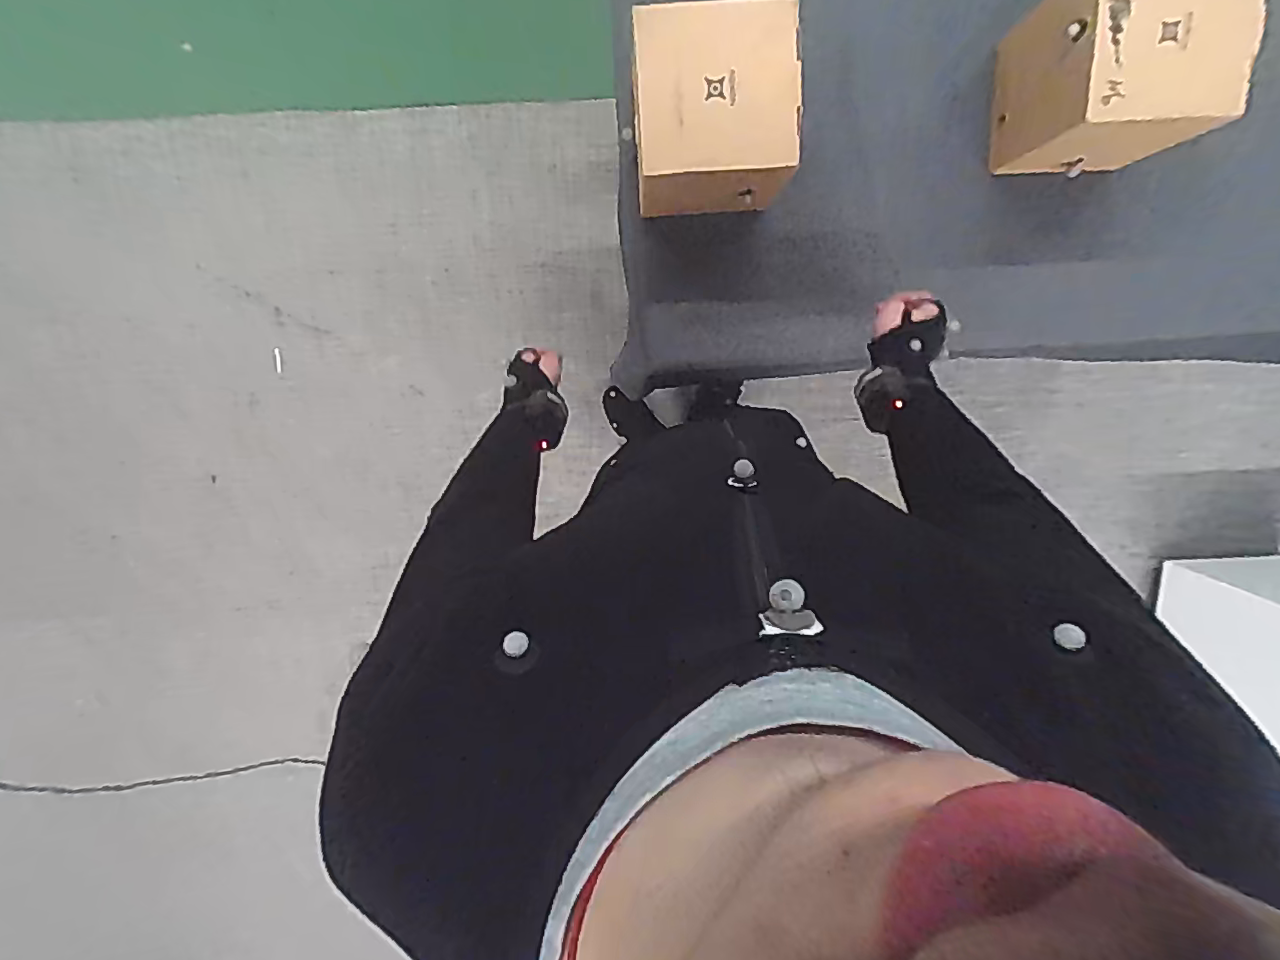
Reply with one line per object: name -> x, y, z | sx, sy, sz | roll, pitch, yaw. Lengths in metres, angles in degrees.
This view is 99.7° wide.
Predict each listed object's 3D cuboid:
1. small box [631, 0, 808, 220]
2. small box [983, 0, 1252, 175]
small box -> 0.084, -0.422, 0.640 | 0.179, 0.176, 0.168 | -5, 100, -1
small box -> 0.561, -0.487, 0.655 | 0.179, 0.176, 0.168 | -4, 102, -3
